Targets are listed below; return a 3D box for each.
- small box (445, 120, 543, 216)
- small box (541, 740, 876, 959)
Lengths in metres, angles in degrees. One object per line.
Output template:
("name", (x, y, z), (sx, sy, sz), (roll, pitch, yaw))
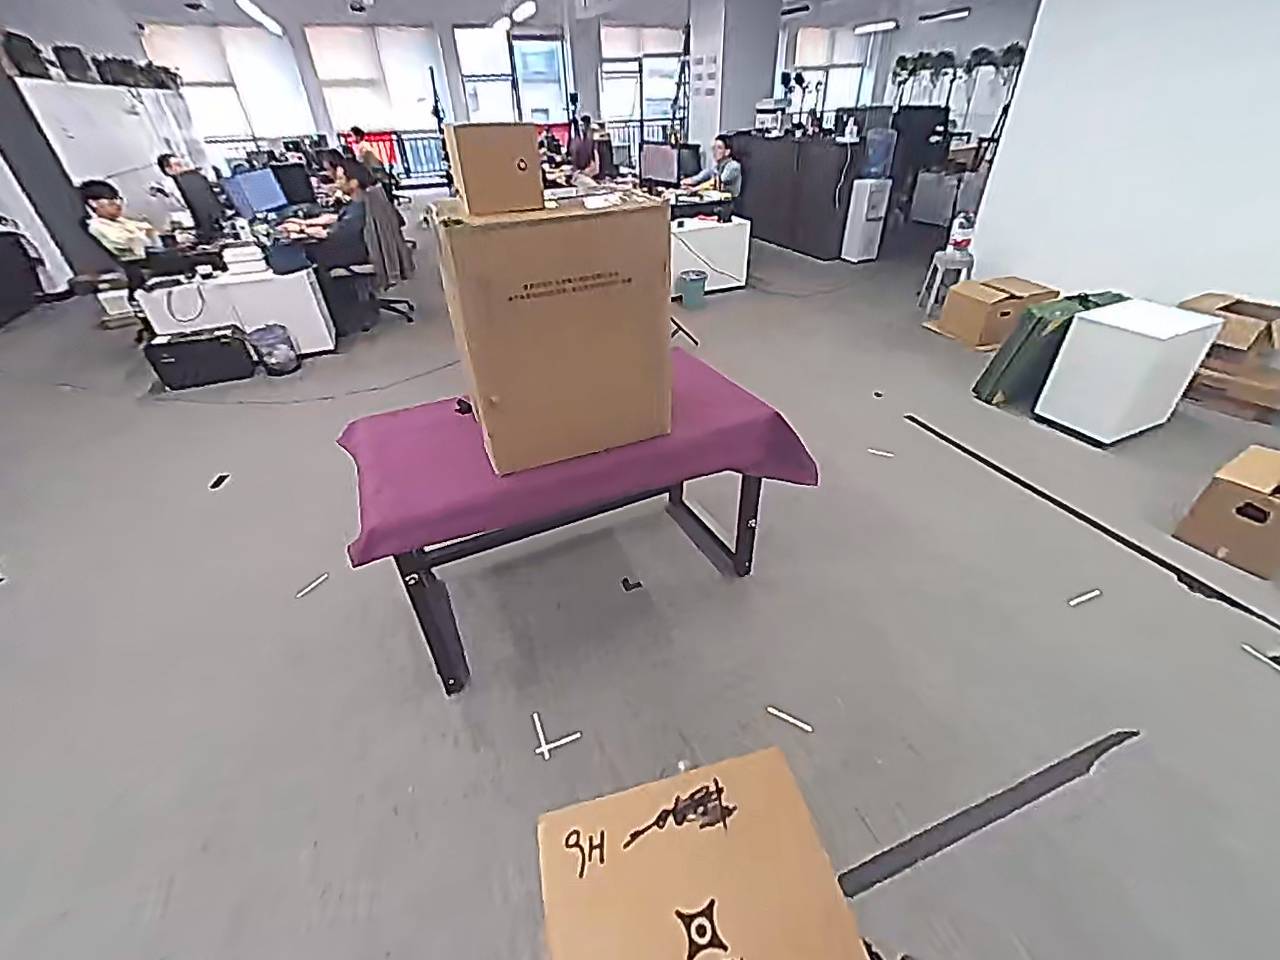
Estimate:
("small box", (-0.325, -0.707, 1.222), (0.179, 0.176, 0.168), (-16, 37, -18))
("small box", (0.042, 0.299, 0.340), (0.168, 0.176, 0.179), (-12, 46, -7))
